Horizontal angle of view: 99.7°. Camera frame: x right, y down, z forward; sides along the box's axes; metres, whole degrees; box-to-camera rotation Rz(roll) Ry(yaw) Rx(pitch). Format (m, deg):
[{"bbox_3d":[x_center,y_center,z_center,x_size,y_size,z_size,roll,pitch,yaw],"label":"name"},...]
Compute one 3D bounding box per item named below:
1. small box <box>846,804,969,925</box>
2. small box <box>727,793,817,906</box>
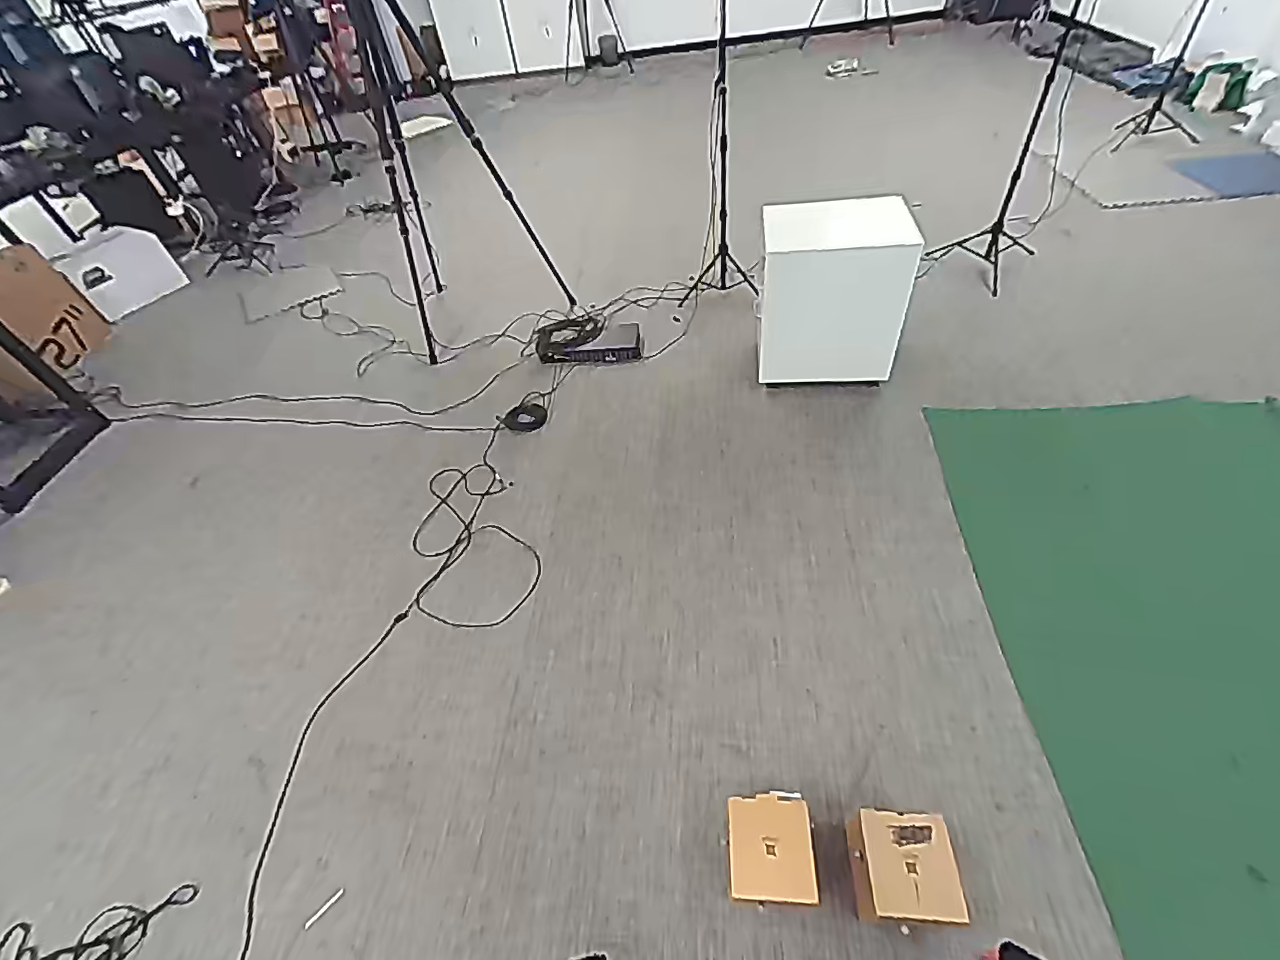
[{"bbox_3d":[0.532,0.786,1.105,0.168,0.176,0.179,-1,49,7],"label":"small box"},{"bbox_3d":[0.272,0.785,1.146,0.168,0.176,0.179,-1,47,7],"label":"small box"}]
